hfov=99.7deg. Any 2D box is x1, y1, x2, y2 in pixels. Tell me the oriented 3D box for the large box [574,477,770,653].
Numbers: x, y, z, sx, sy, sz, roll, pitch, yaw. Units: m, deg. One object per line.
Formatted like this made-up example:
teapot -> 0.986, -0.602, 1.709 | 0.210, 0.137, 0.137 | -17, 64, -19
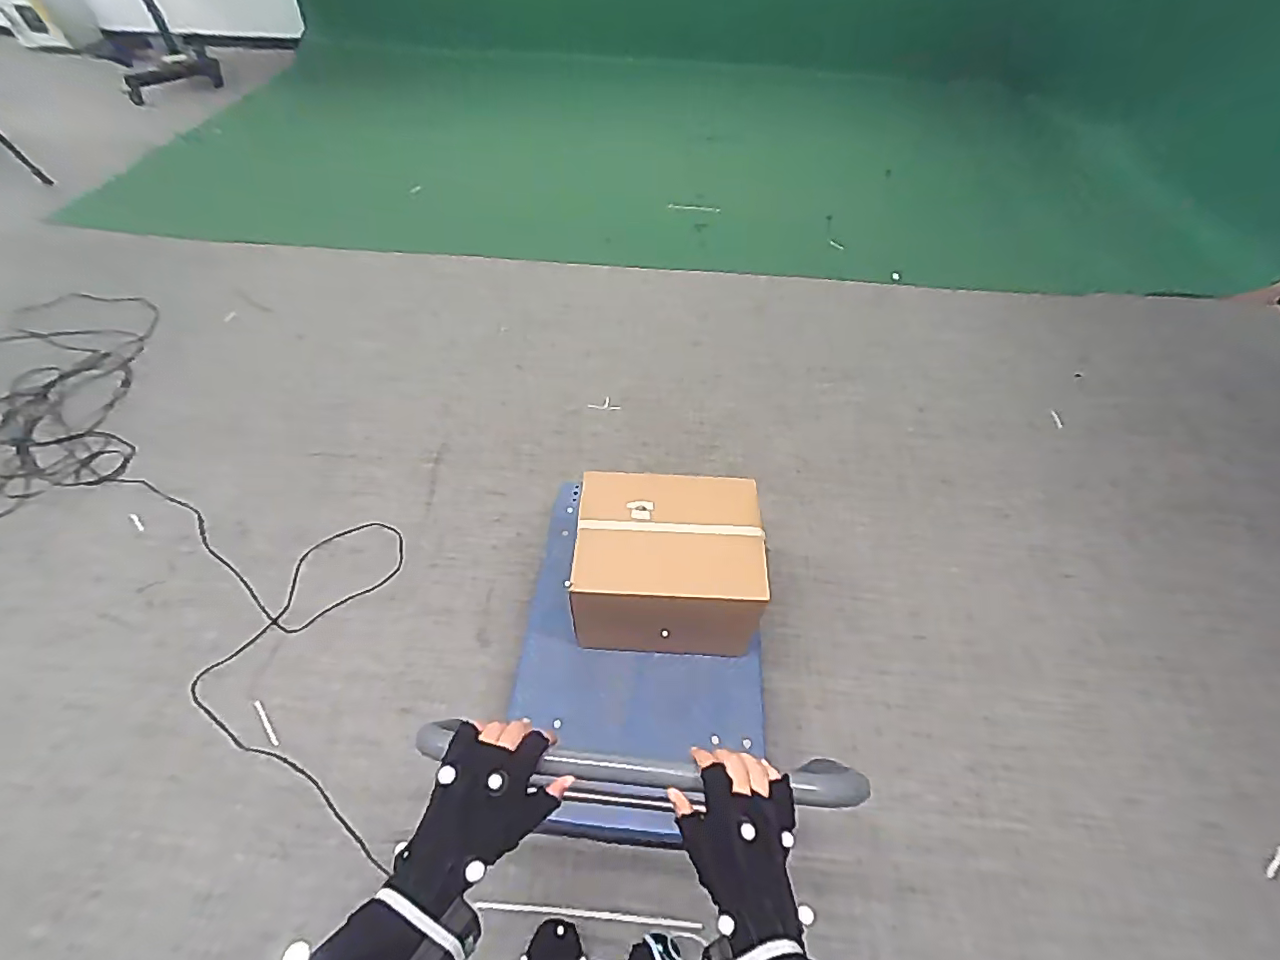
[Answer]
large box -> 0.067, 0.210, 1.296 | 0.408, 0.320, 0.320 | 2, 51, 0
